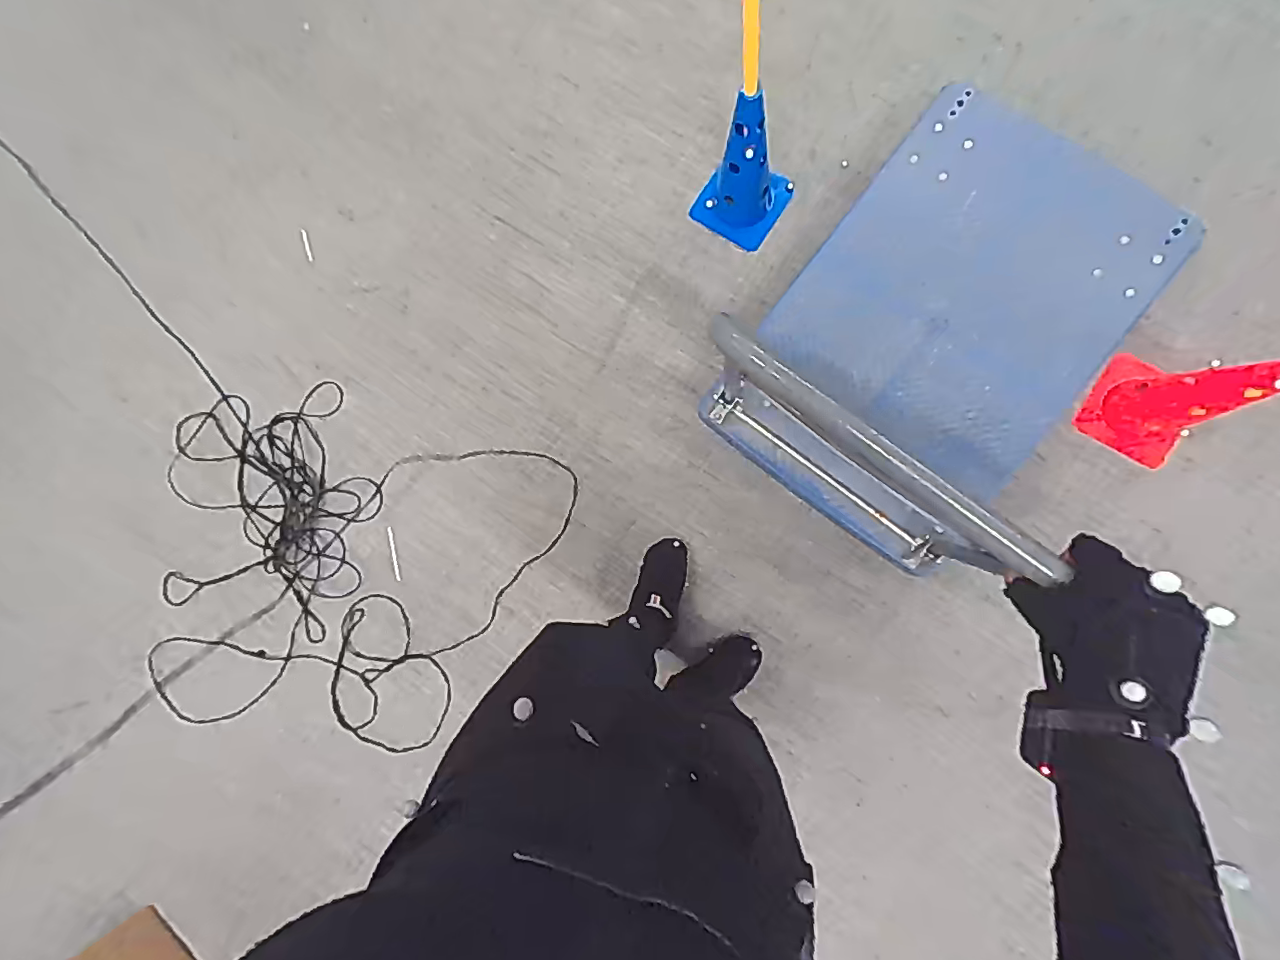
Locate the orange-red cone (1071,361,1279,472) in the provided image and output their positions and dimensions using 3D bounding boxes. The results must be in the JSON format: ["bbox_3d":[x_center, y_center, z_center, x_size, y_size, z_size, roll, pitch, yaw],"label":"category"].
[{"bbox_3d":[1.064,-0.155,1.028,0.199,0.360,0.198,34,91,10],"label":"orange-red cone"}]
